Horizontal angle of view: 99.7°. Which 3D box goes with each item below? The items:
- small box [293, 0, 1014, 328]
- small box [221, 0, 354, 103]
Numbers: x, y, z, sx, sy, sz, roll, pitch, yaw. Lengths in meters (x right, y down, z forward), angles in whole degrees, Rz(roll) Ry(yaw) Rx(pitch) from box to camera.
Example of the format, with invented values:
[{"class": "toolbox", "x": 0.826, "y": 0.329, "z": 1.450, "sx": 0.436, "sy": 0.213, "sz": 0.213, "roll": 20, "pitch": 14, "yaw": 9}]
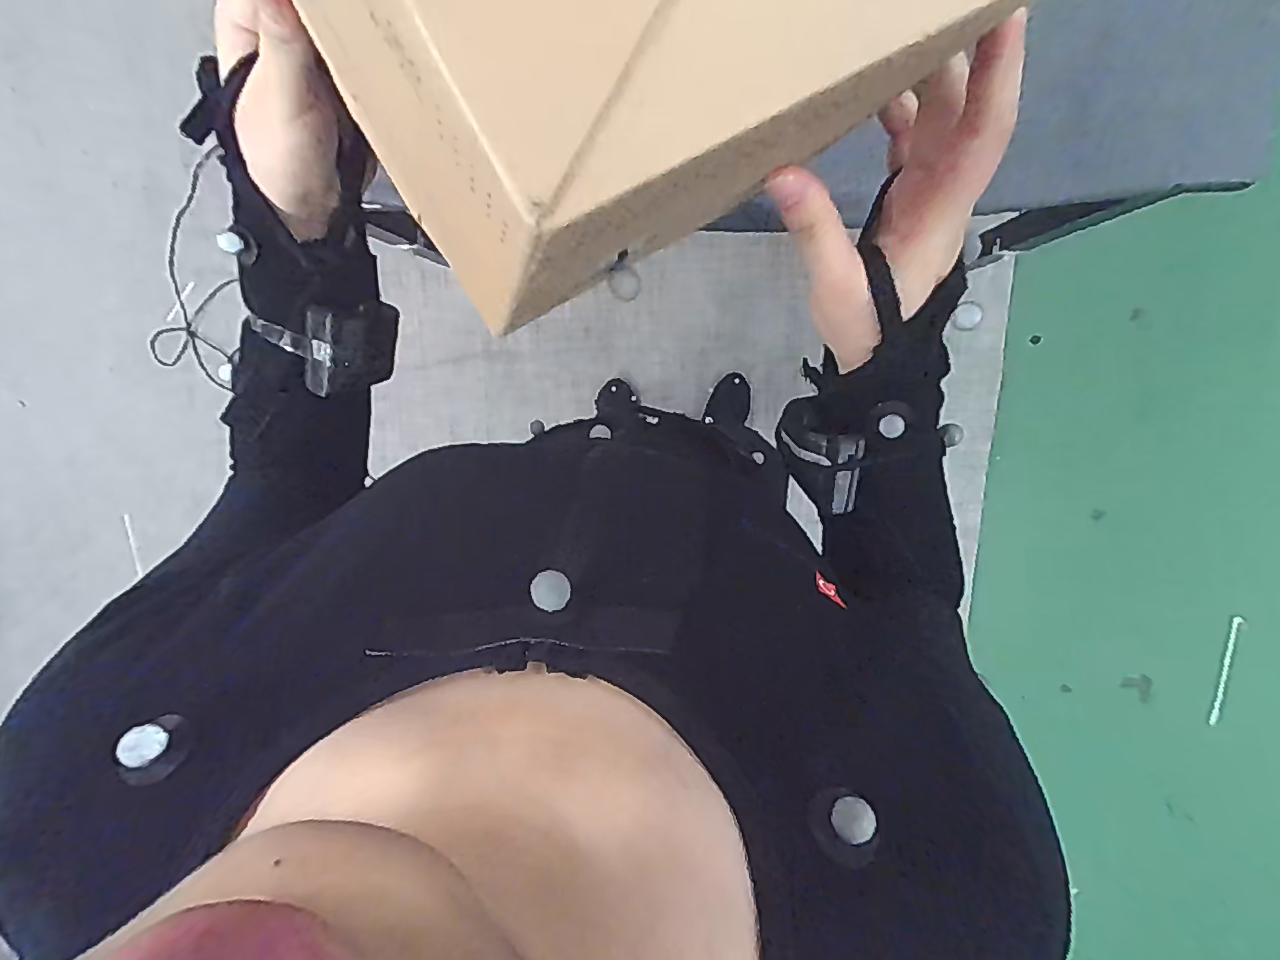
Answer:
[{"class": "small box", "x": -0.013, "y": -0.173, "z": 0.175, "sx": 0.179, "sy": 0.176, "sz": 0.168, "roll": -32, "pitch": 107, "yaw": -10}, {"class": "small box", "x": -0.195, "y": -0.417, "z": 0.429, "sx": 0.179, "sy": 0.176, "sz": 0.168, "roll": 3, "pitch": 103, "yaw": 6}]
